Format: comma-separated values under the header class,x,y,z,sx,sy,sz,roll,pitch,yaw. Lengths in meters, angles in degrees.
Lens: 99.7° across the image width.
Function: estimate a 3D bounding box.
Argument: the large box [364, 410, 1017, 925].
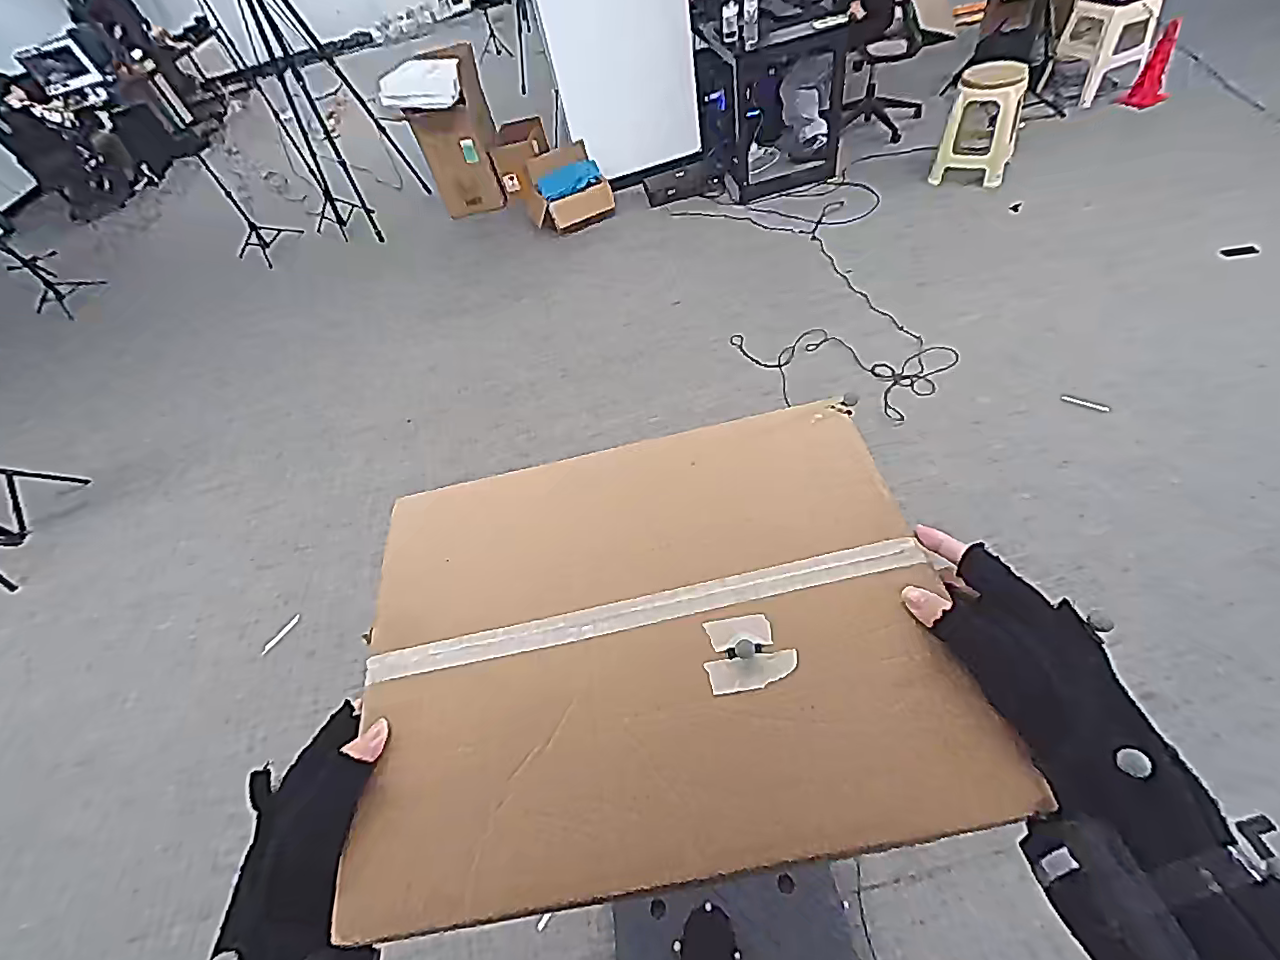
class,x,y,z,sx,sy,sz,roll,pitch,yaw
large box,0.026,0.187,0.522,0.408,0.320,0.320,-13,53,3
